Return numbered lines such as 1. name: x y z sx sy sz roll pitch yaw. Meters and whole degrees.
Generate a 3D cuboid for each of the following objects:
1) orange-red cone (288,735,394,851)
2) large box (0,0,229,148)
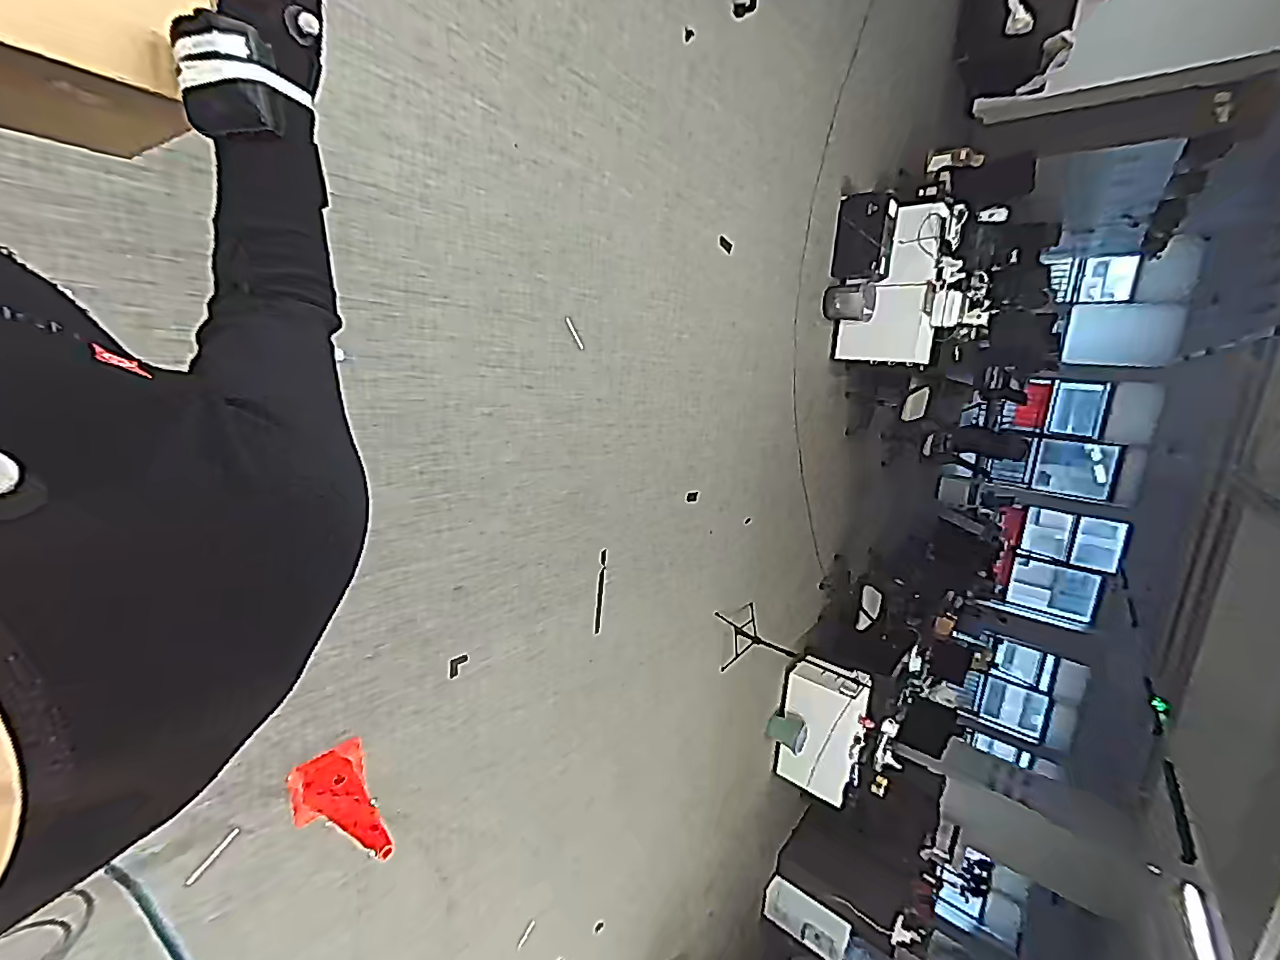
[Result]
1. orange-red cone: -0.789 0.906 1.495 0.198 0.360 0.199 -15 111 -50
2. large box: -0.529 -0.432 0.295 0.408 0.320 0.320 -12 114 -52
